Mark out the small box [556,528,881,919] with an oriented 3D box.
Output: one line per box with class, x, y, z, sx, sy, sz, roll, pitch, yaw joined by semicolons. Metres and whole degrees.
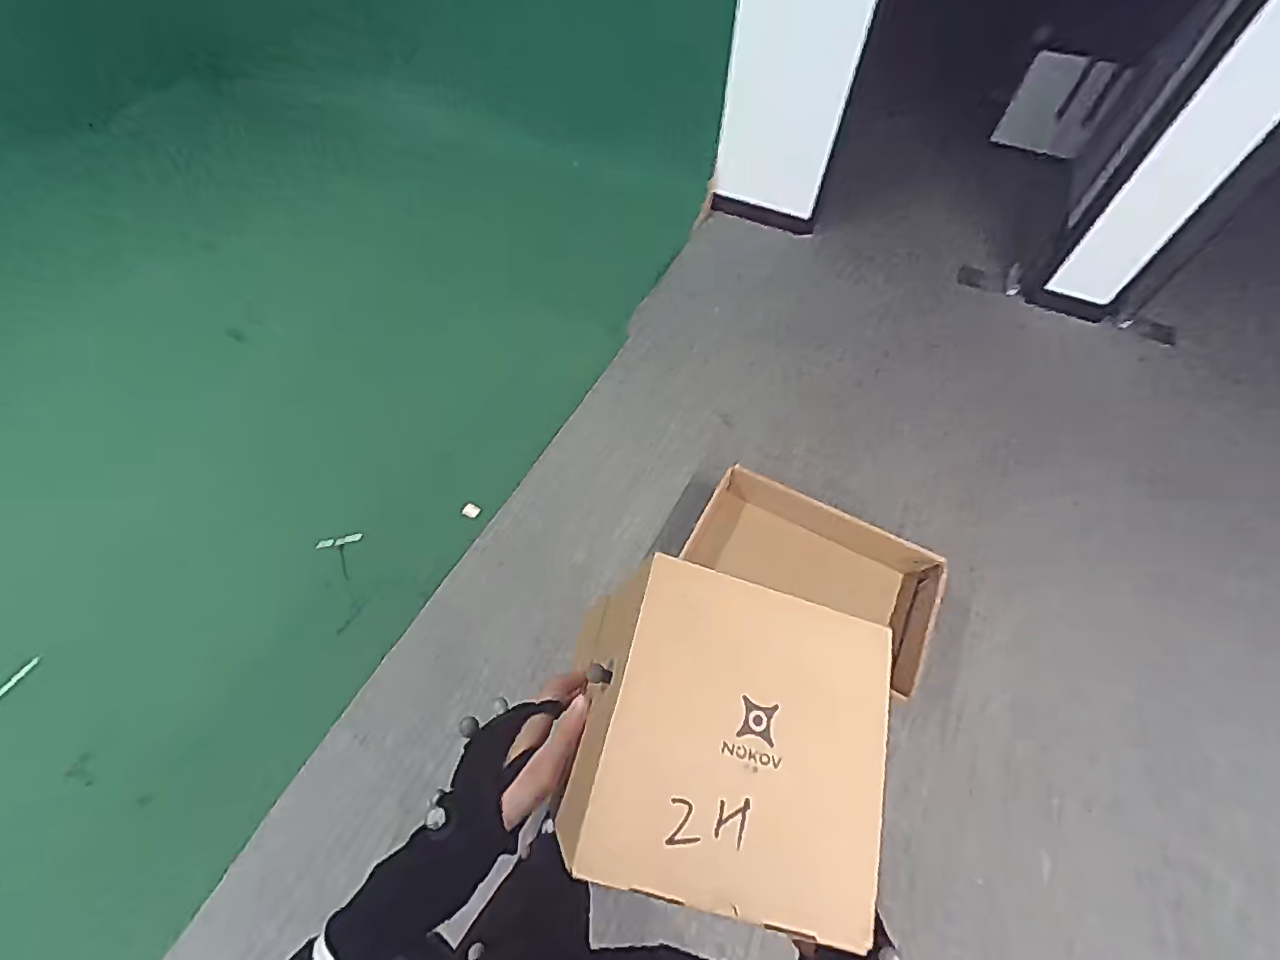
small box;0.044;0.161;0.390;0.168;0.176;0.179;20;66;-3
